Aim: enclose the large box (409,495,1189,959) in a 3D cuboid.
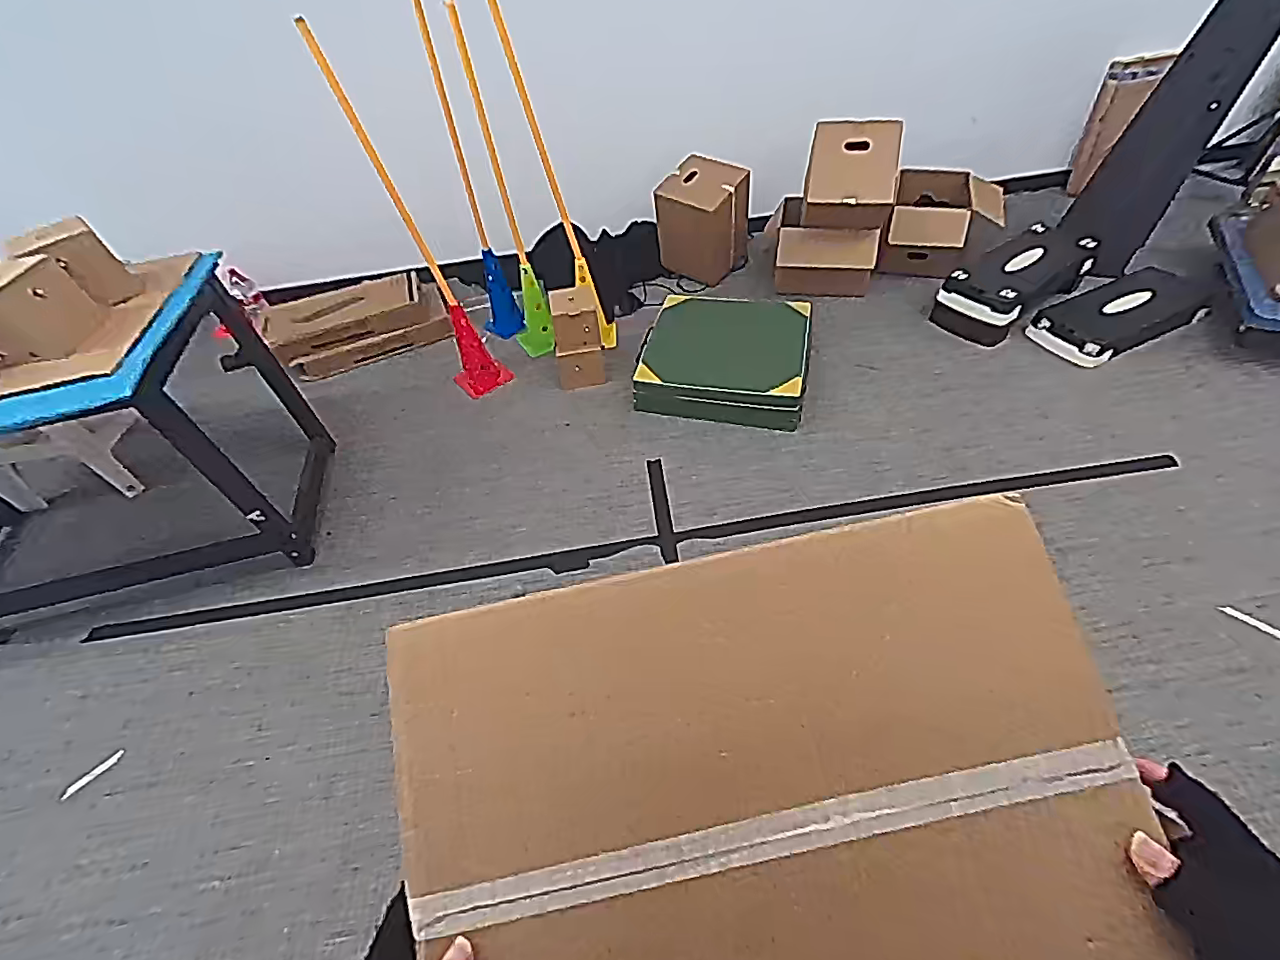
[{"bbox_3d":[0.081,0.236,0.456,0.408,0.320,0.320,-13,76,0],"label":"large box"}]
